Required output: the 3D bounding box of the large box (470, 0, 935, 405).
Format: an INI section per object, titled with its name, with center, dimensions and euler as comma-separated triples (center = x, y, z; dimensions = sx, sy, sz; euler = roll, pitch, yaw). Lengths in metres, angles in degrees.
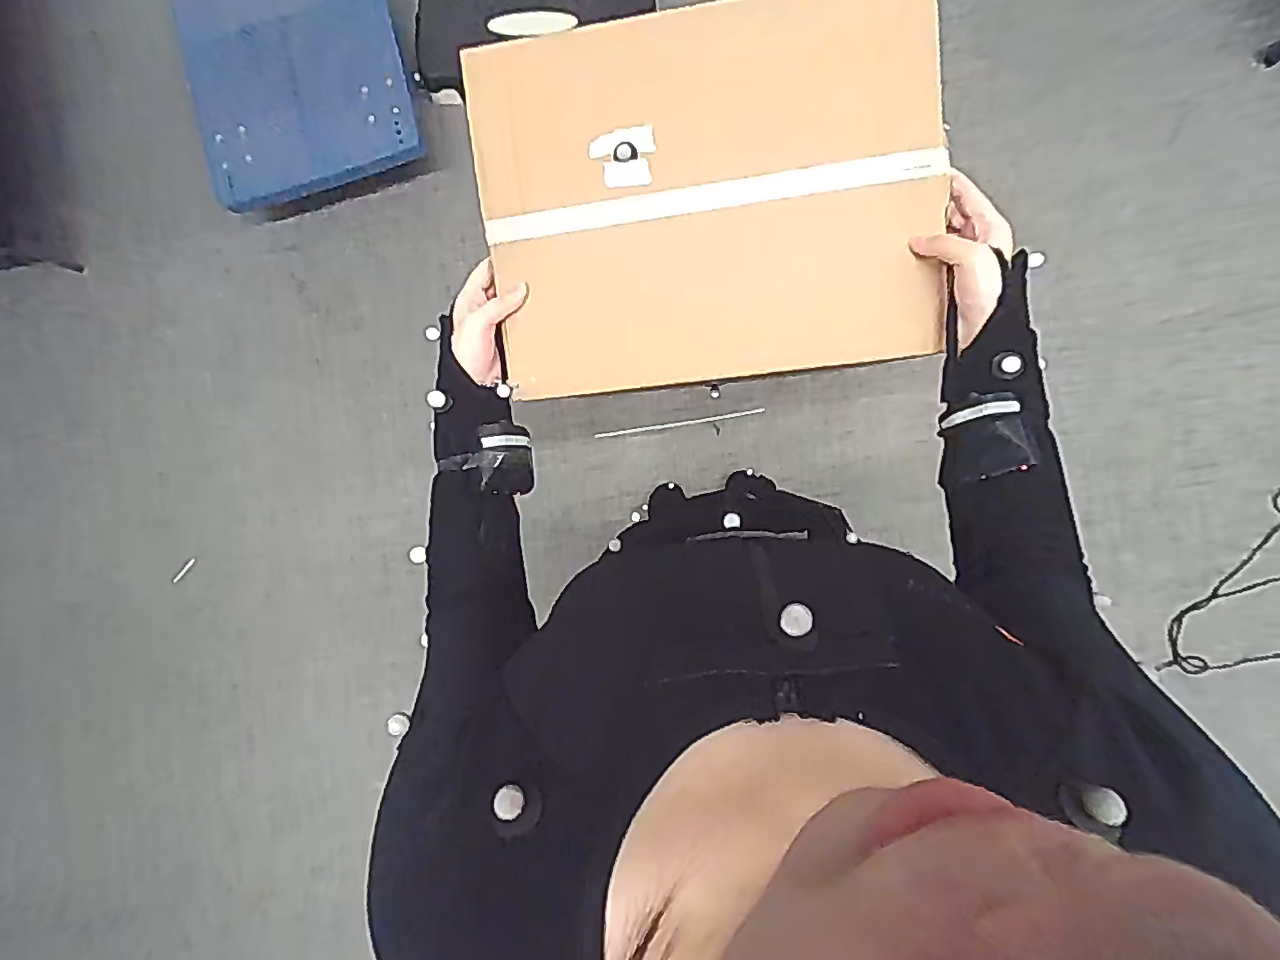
[large box]
center = 0.074, -0.274, 0.642
dimensions = 0.408, 0.320, 0.320
euler = -6, 98, 8
